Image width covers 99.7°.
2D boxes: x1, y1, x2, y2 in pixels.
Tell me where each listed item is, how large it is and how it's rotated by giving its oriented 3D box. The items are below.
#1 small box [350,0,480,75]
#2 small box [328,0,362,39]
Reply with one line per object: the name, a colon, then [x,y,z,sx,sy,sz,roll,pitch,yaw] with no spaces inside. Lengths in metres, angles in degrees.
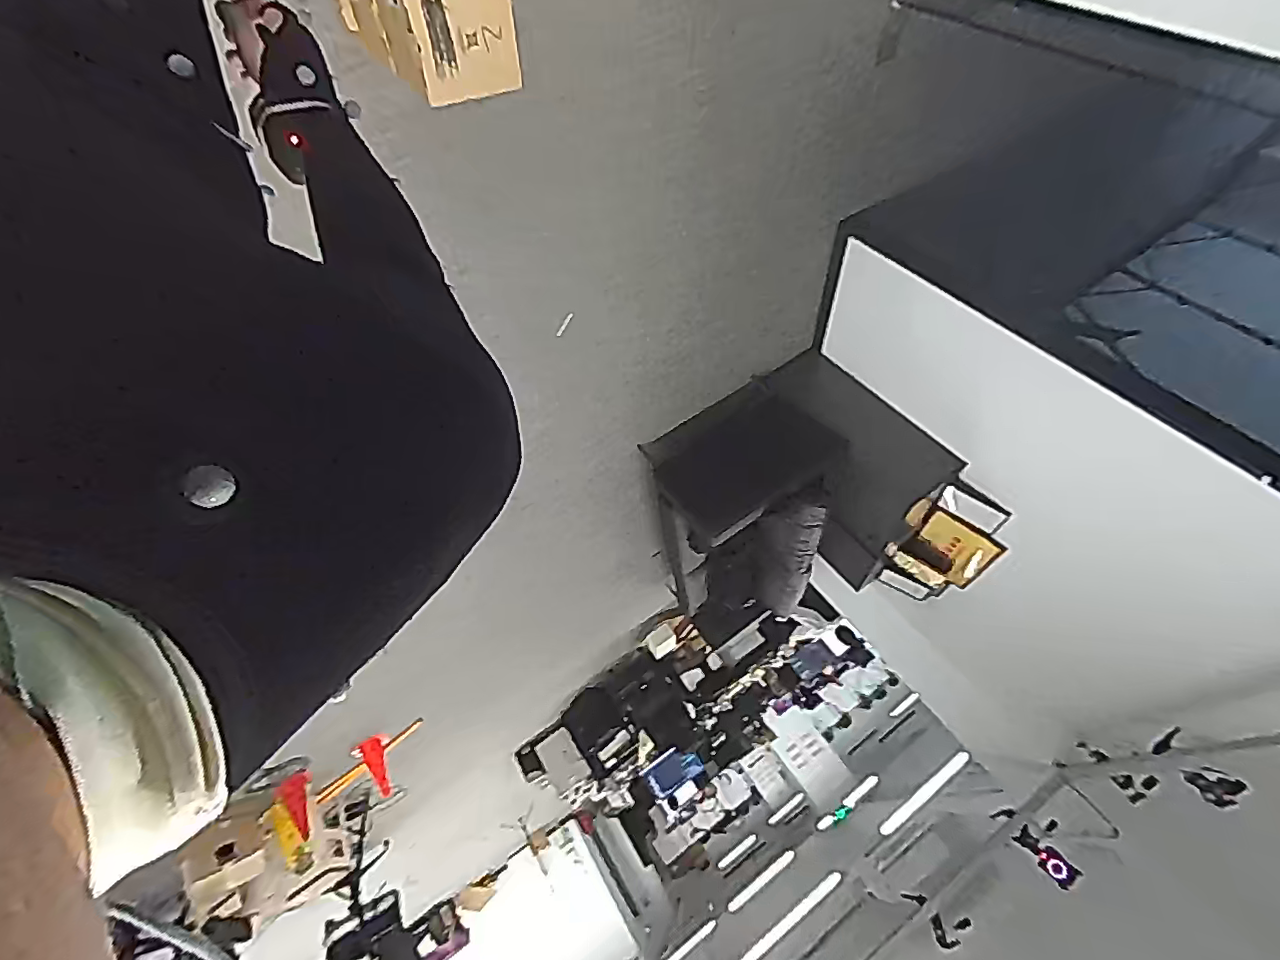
small box: [-0.424,-0.882,0.990,0.179,0.176,0.168,-28,150,-18]
small box: [-0.517,-0.993,1.060,0.179,0.176,0.168,-25,146,-23]
